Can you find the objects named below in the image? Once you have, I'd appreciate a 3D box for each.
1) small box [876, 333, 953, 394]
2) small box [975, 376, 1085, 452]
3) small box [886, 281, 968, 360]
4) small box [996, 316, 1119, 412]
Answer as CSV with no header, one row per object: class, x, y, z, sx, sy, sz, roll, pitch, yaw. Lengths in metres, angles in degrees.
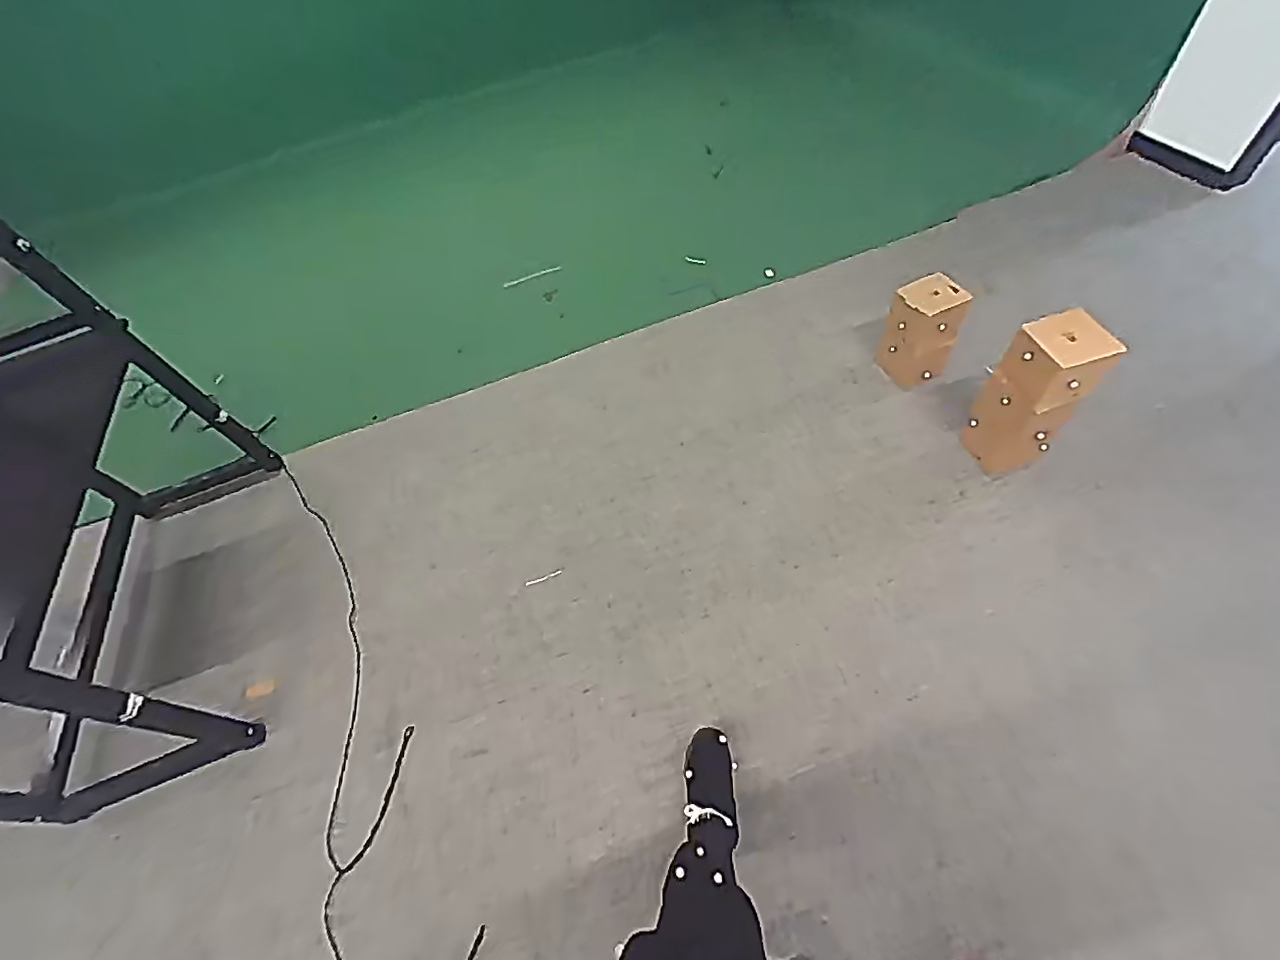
small box,0.995,-0.446,1.980,0.168,0.176,0.179,-21,55,-4
small box,1.130,-0.213,1.587,0.168,0.176,0.179,-20,55,-3
small box,0.970,-0.542,1.850,0.179,0.176,0.168,-24,55,-5
small box,1.109,-0.304,1.454,0.168,0.176,0.179,-16,54,0
